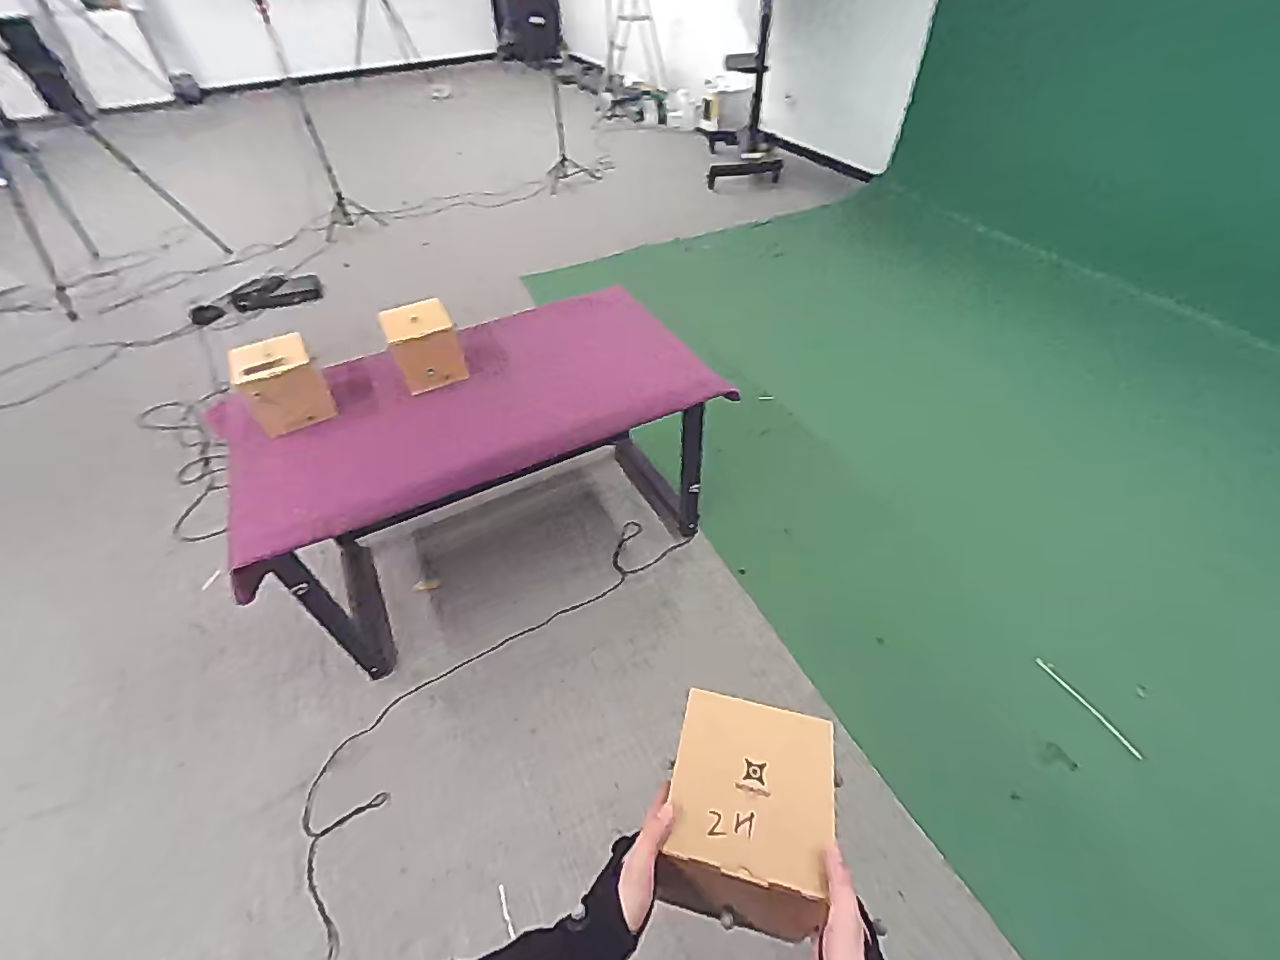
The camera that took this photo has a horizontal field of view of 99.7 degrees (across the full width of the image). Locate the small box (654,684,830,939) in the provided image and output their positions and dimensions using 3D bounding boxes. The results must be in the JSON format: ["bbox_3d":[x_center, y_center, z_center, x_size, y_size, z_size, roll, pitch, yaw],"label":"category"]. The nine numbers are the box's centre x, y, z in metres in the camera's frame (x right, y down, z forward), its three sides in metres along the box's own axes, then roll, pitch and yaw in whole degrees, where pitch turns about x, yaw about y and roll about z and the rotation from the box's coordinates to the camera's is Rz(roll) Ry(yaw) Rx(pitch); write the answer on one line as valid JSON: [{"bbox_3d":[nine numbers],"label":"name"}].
[{"bbox_3d":[0.111,0.368,0.608,0.168,0.176,0.179,9,40,12],"label":"small box"}]

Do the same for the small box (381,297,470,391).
[{"bbox_3d":[-0.587,-0.373,1.488,0.168,0.176,0.179,-23,51,-18],"label":"small box"}]
